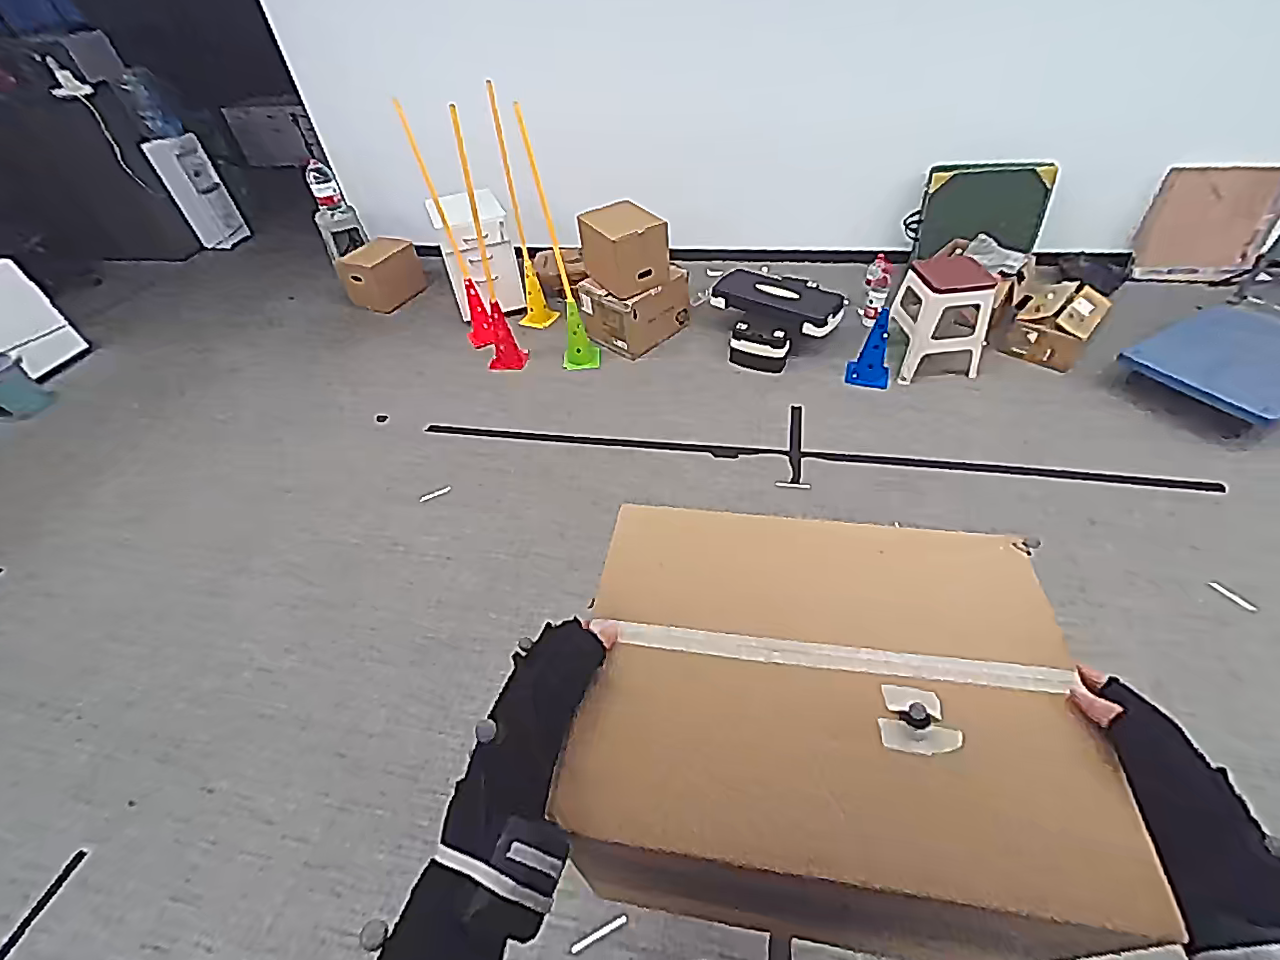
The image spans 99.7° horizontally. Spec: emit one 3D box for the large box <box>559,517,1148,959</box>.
[{"bbox_3d":[0.161,0.266,0.580,0.408,0.320,0.320,4,46,9],"label":"large box"}]
